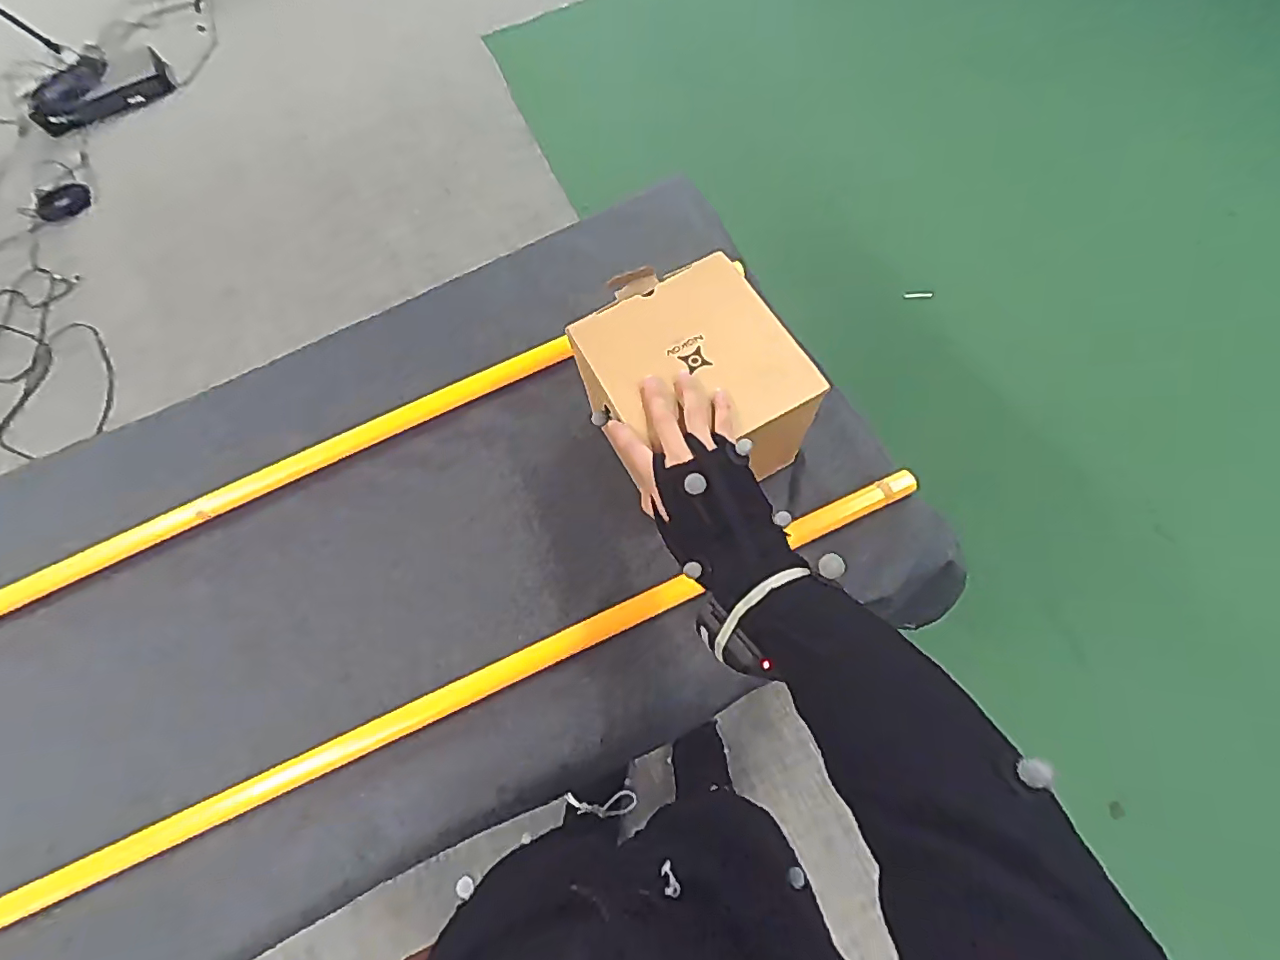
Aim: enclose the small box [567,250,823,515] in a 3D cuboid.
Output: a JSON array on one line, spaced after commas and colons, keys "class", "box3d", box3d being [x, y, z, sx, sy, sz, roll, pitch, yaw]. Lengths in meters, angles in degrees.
[{"class": "small box", "box3d": [0.052, -0.081, 0.543, 0.168, 0.176, 0.179, -29, 69, -5]}]
